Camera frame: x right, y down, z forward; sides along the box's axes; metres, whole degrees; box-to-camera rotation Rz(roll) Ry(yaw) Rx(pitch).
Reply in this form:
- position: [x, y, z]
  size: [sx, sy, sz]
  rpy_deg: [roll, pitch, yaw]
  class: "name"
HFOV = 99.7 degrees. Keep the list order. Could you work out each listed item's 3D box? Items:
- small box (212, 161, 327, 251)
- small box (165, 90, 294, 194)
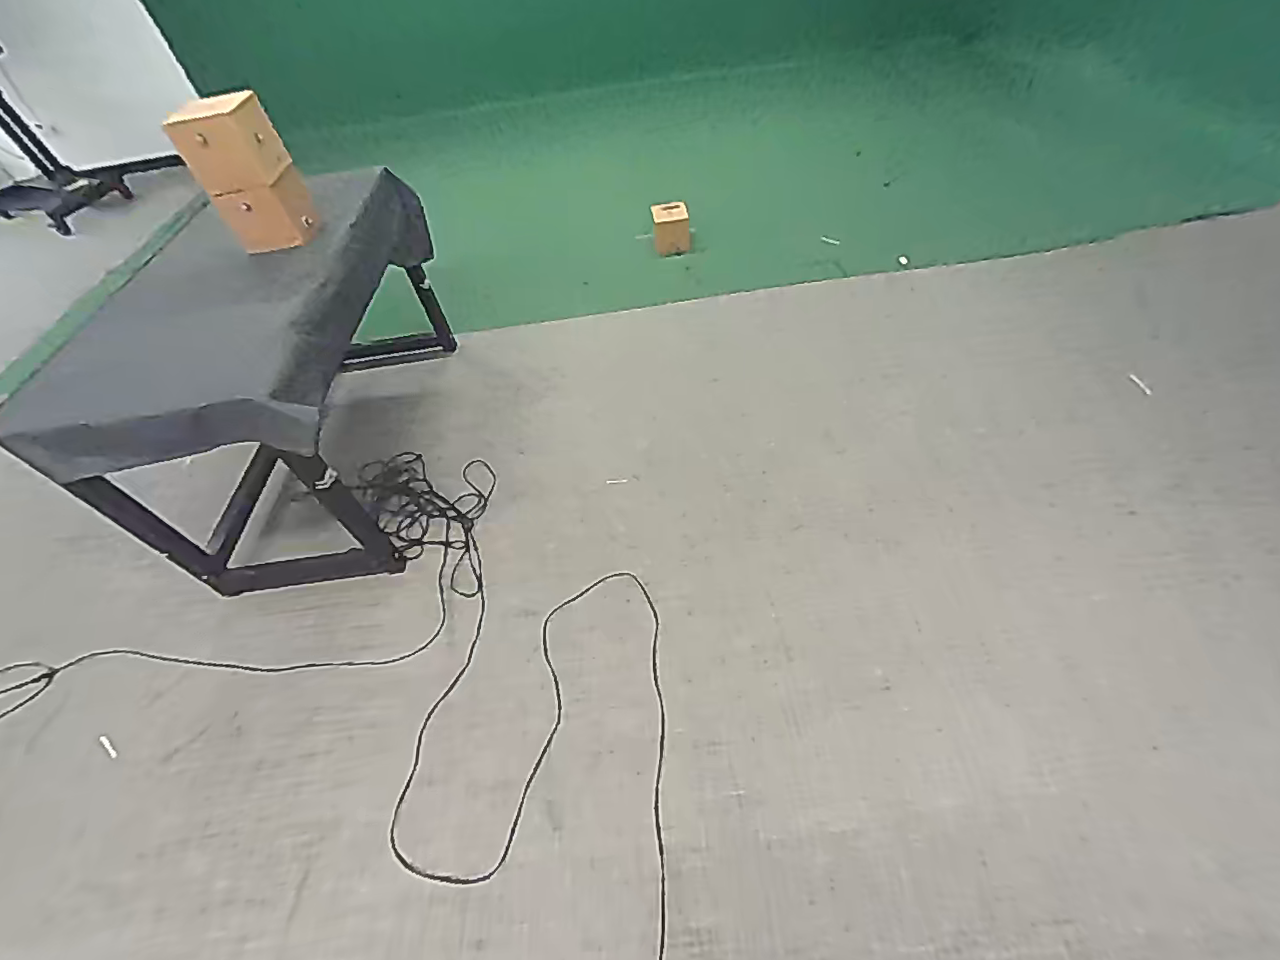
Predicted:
- position: [-1.027, -0.764, 1.516]
  size: [0.179, 0.176, 0.168]
  rpy_deg: [-7, 51, 3]
  class: "small box"
- position: [-1.038, -0.864, 1.388]
  size: [0.179, 0.176, 0.168]
  rpy_deg: [-9, 51, 3]
  class: "small box"
